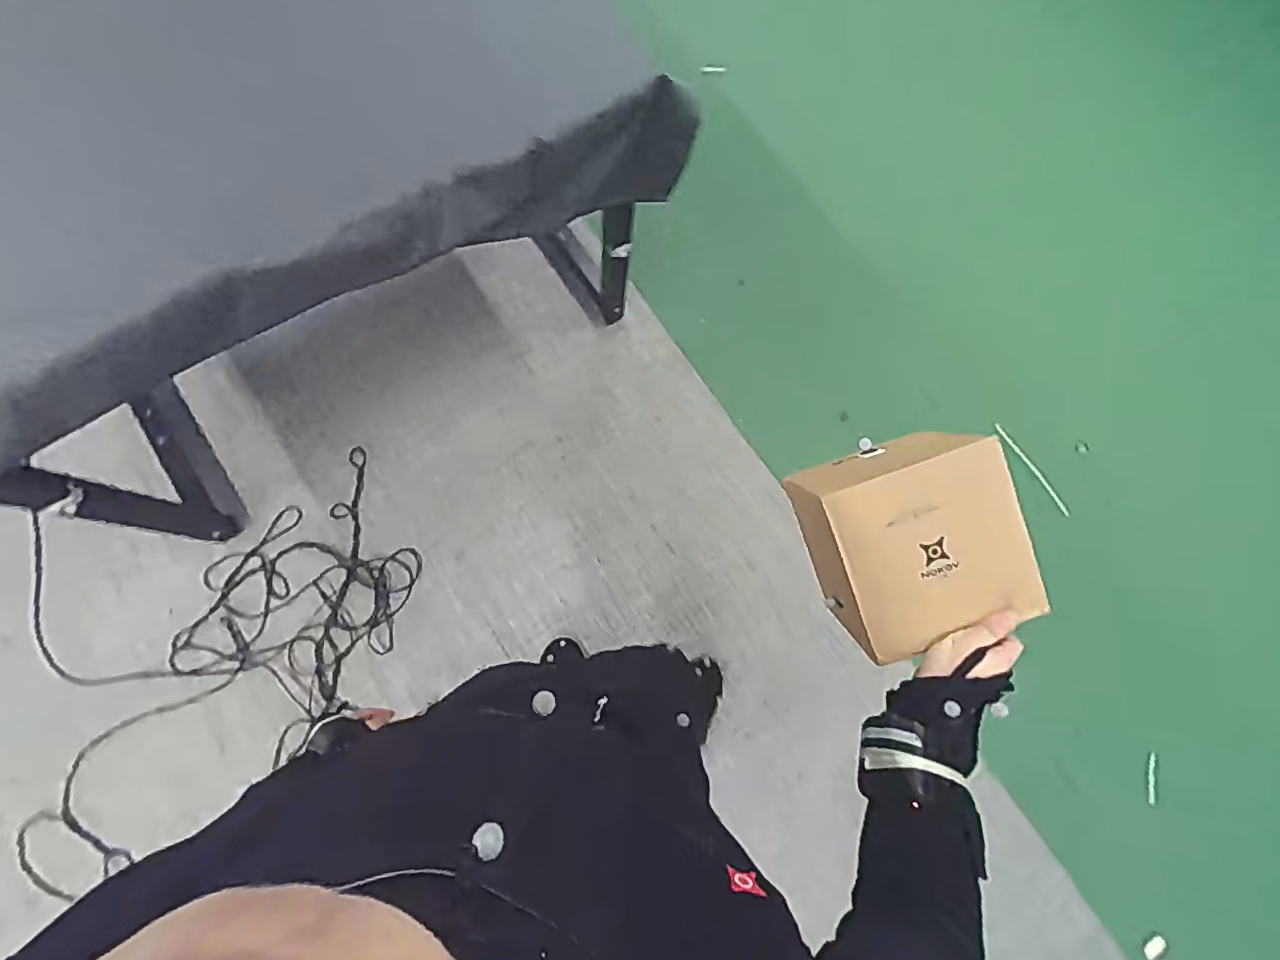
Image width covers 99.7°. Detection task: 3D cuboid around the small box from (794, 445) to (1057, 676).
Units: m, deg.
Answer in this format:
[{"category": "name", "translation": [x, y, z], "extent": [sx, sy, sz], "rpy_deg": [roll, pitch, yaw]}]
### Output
[{"category": "small box", "translation": [0.282, 0.071, 0.572], "extent": [0.168, 0.176, 0.179], "rpy_deg": [-20, 94, 5]}]
